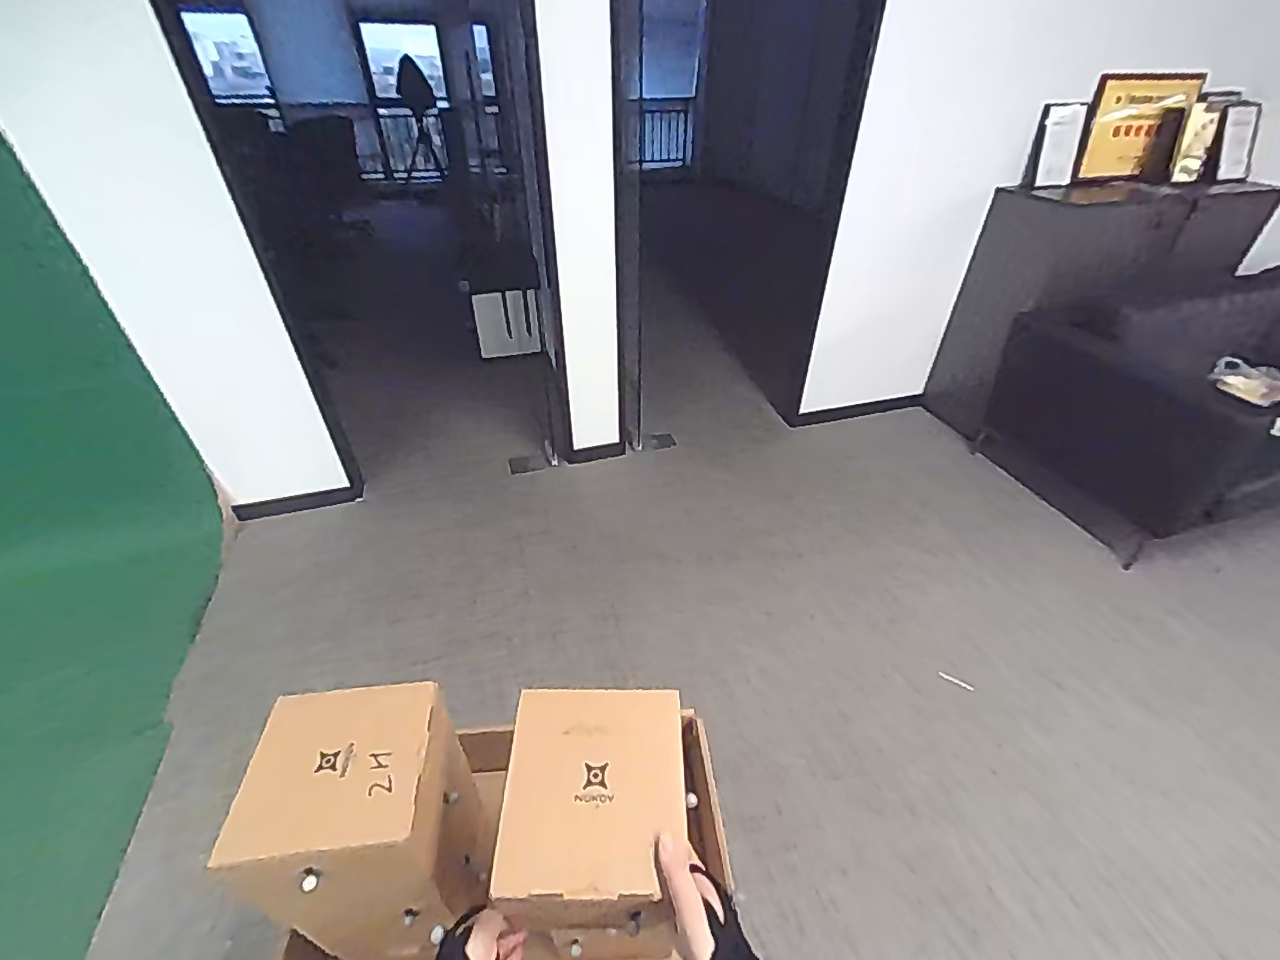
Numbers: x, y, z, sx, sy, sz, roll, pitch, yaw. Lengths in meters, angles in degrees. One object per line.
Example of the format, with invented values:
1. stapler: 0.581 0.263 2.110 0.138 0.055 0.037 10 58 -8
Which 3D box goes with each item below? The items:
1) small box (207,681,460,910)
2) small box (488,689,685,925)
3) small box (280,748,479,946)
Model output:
1. small box: -0.314 0.349 0.602 0.179 0.176 0.168 -3 39 -7
2. small box: -0.044 0.335 0.551 0.168 0.176 0.179 2 45 -1
3. small box: -0.321 0.478 0.706 0.179 0.176 0.168 -2 38 -7
